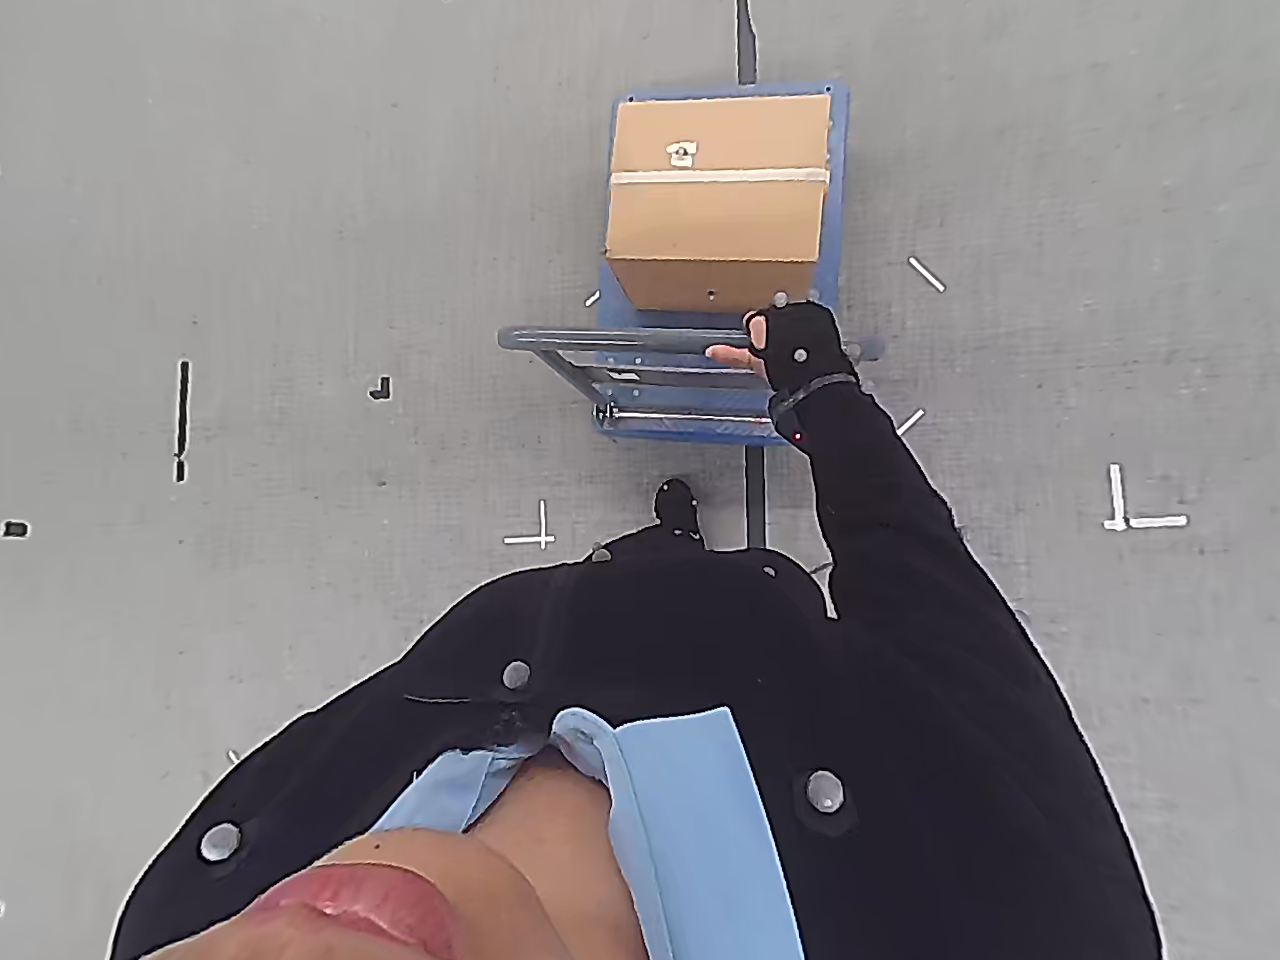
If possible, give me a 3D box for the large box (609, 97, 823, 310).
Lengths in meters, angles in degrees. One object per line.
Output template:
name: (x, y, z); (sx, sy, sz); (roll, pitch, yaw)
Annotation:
large box: (0.171, -0.573, 1.191); (0.408, 0.320, 0.320); (4, 88, 11)
